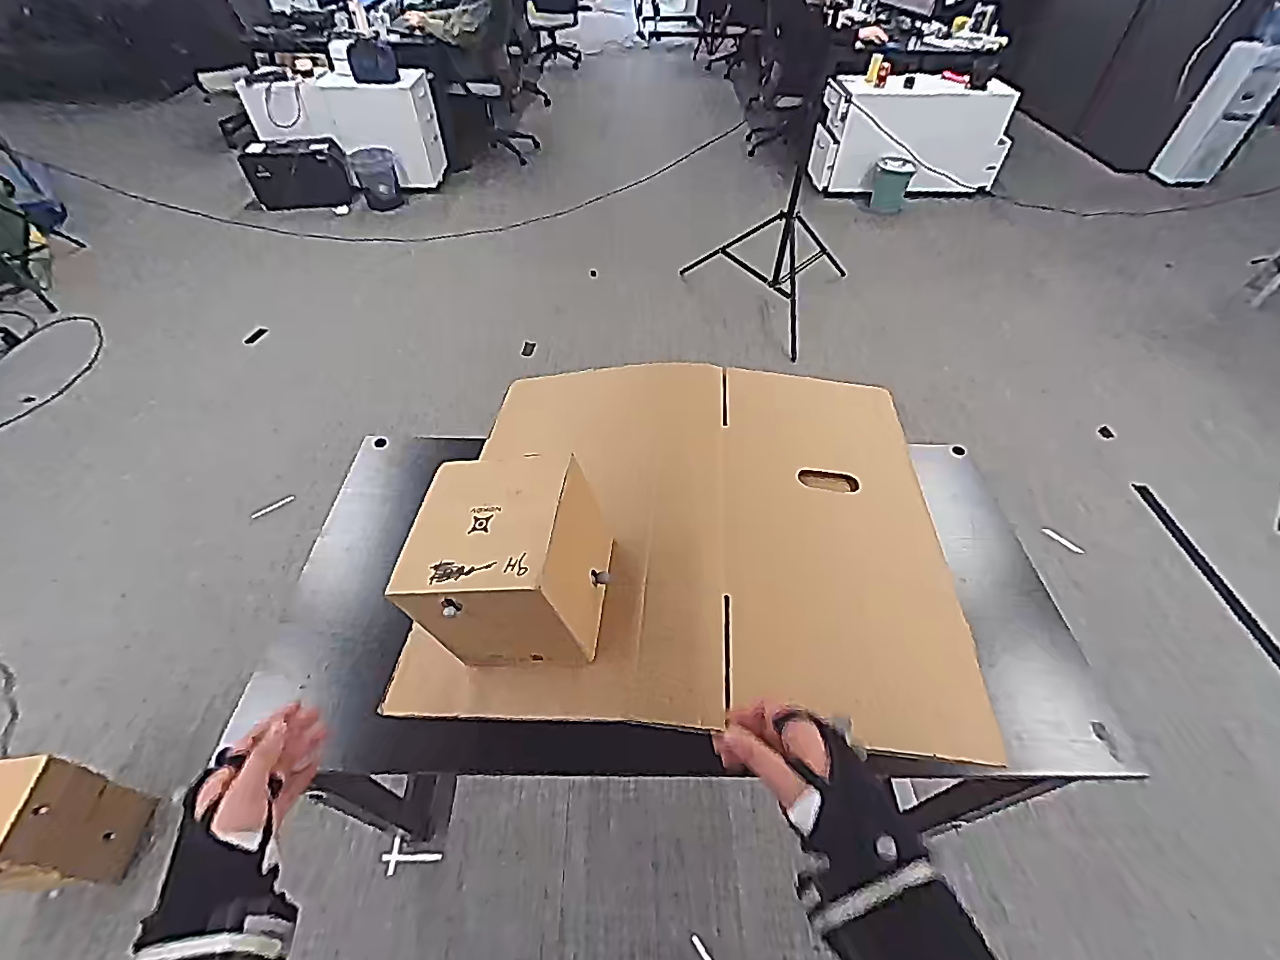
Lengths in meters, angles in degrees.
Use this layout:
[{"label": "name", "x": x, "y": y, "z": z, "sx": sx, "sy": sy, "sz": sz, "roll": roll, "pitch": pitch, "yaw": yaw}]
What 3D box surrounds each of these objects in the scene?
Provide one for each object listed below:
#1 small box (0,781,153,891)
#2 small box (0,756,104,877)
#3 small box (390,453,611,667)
[{"label": "small box", "x": -1.225, "y": 0.774, "z": 1.175, "sx": 0.168, "sy": 0.176, "sz": 0.179, "roll": -3, "pitch": 50, "yaw": -3}, {"label": "small box", "x": -1.225, "y": 0.663, "z": 1.057, "sx": 0.168, "sy": 0.176, "sz": 0.179, "roll": -4, "pitch": 48, "yaw": -6}, {"label": "small box", "x": -0.138, "y": 0.093, "z": 0.617, "sx": 0.168, "sy": 0.176, "sz": 0.179, "roll": -6, "pitch": 47, "yaw": 14}]
